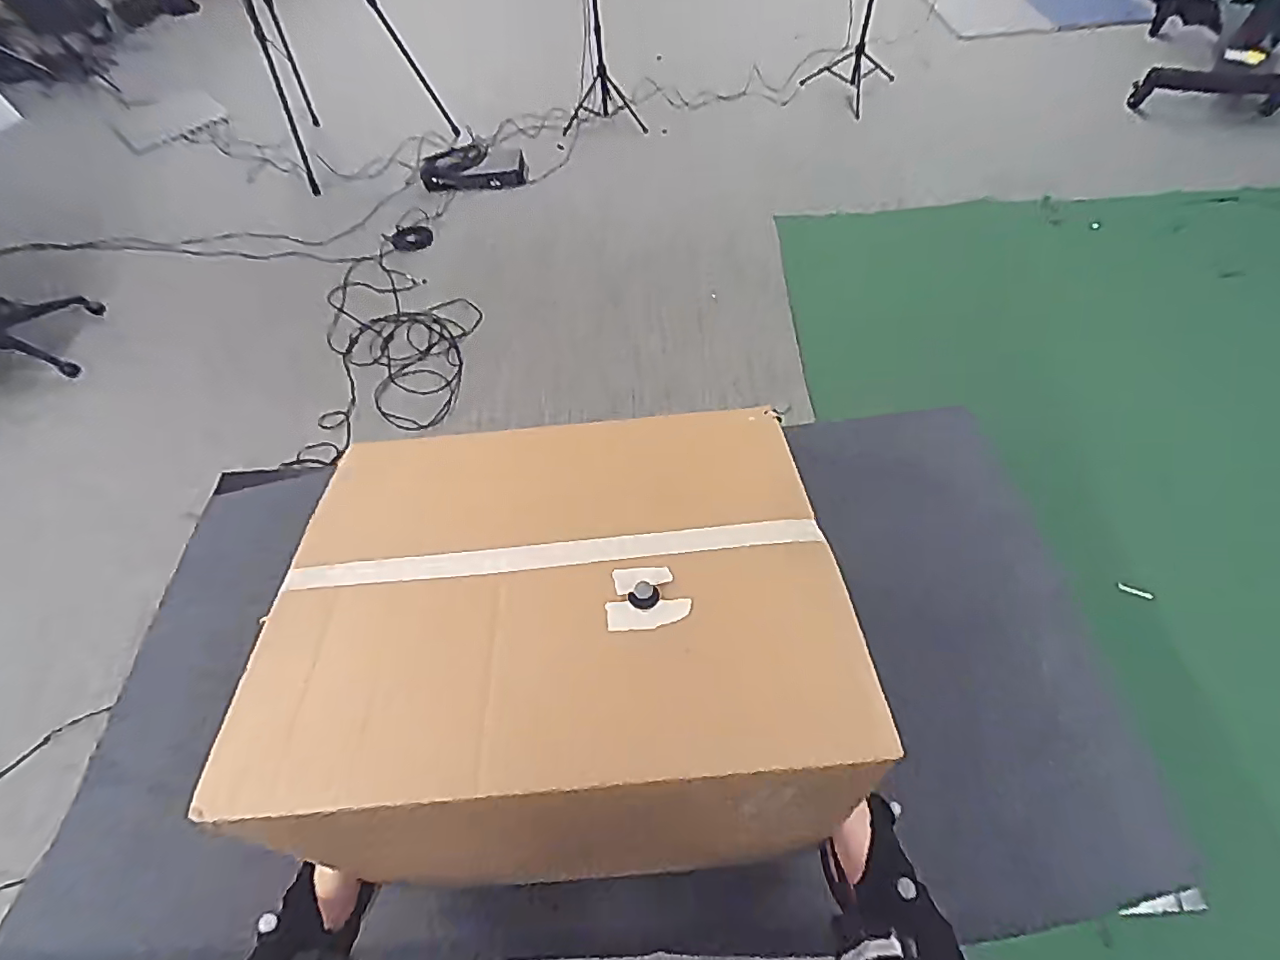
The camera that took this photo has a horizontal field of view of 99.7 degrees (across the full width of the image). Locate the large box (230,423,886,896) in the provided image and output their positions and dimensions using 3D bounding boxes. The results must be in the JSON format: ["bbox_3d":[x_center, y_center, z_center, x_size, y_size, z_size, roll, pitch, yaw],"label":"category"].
[{"bbox_3d":[-0.051,0.176,0.530,0.408,0.320,0.320,-5,46,0],"label":"large box"}]
